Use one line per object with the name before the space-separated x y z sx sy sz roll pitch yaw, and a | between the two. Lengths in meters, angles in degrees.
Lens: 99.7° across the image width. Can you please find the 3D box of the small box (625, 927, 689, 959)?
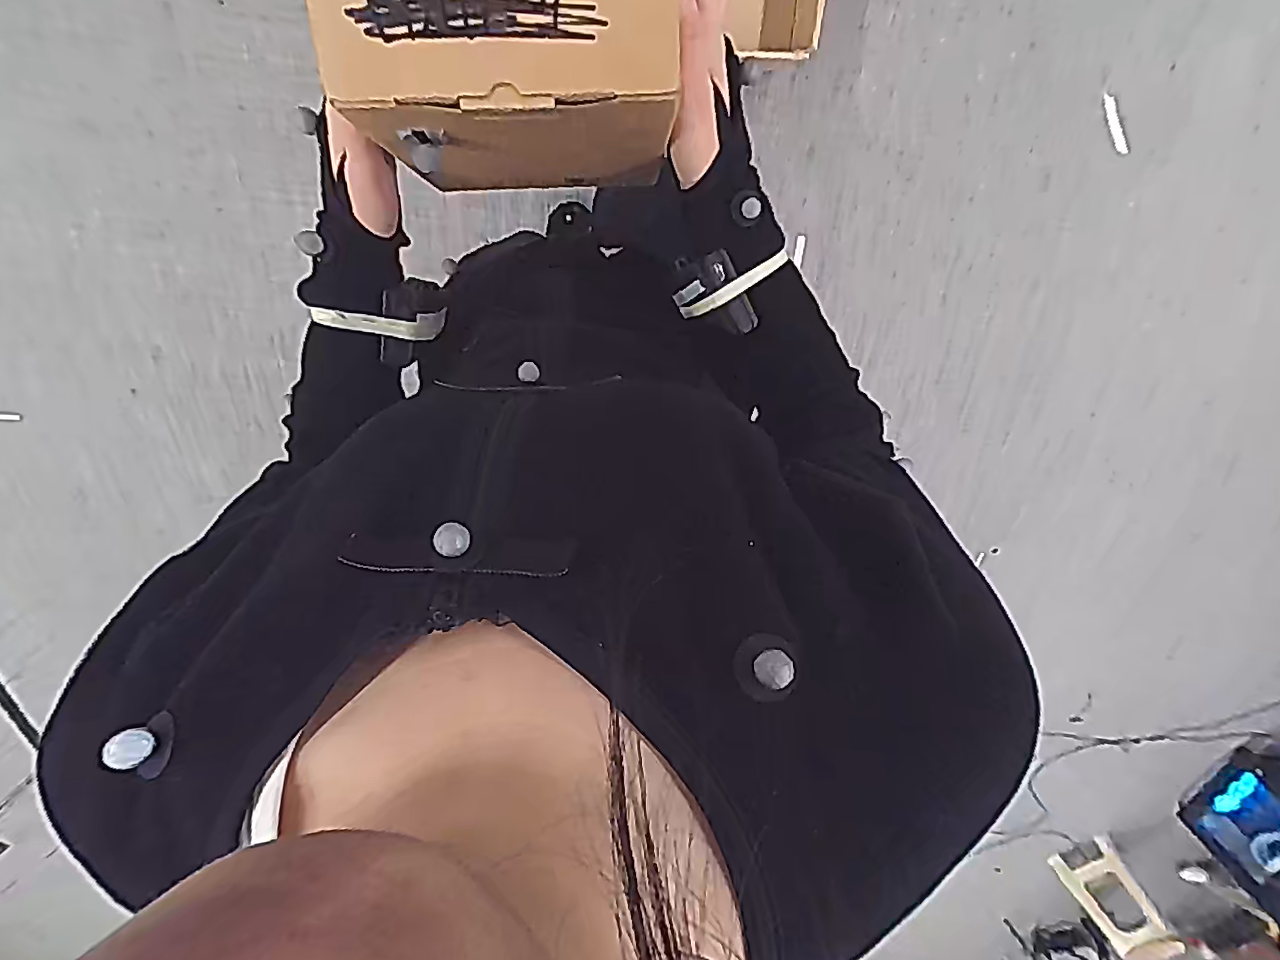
small box | 0.048 1.346 1.458 0.168 0.176 0.179 -1 120 -7
